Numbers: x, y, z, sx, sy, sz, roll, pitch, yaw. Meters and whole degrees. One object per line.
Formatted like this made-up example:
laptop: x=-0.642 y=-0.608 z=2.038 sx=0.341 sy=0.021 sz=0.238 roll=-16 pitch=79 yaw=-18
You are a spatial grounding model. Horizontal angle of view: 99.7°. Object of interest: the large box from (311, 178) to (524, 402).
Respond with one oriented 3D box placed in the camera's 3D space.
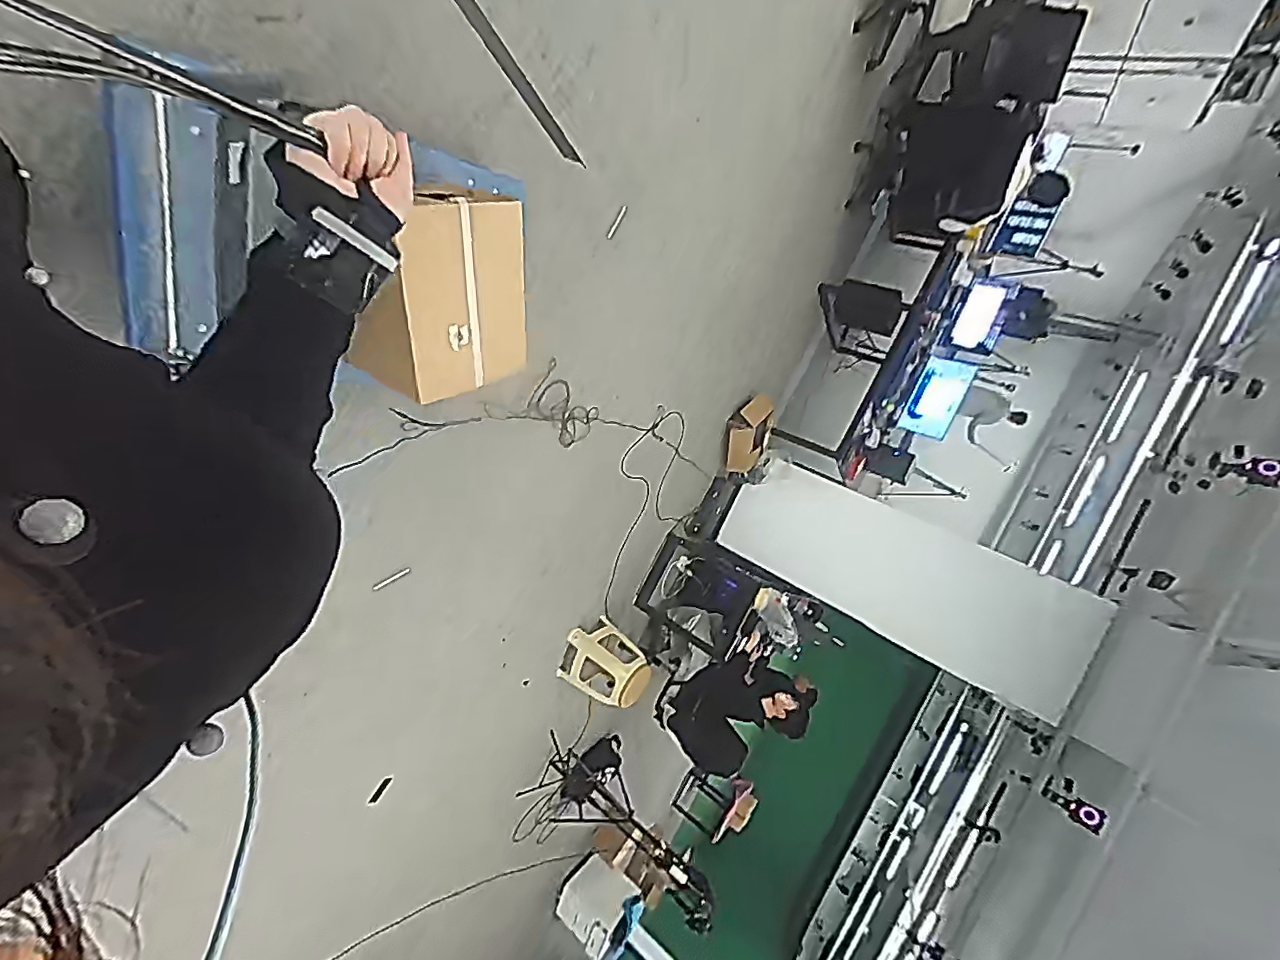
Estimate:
large box: x=-0.493 y=-0.453 z=1.257 sx=0.320 sy=0.320 sz=0.408 roll=-31 pitch=139 yaw=-43
